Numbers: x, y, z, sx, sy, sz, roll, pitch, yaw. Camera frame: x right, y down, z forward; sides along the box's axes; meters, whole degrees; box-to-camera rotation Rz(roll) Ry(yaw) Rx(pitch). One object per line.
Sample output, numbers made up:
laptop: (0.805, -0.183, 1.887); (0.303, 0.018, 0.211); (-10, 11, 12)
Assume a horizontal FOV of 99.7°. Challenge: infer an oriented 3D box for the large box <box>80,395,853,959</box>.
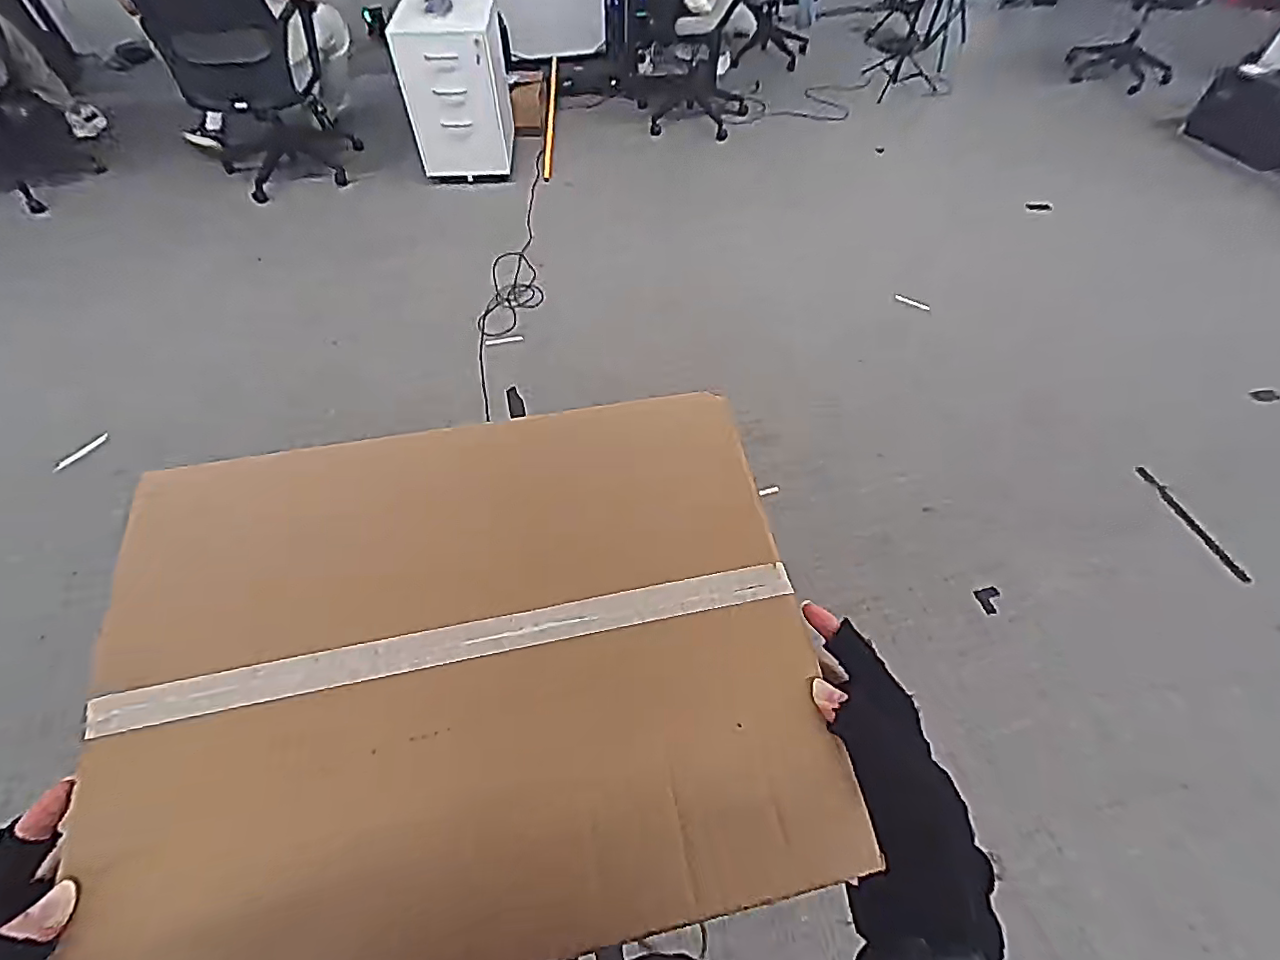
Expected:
large box: (-0.110, 0.166, 0.473); (0.408, 0.320, 0.320); (-9, 64, -8)
